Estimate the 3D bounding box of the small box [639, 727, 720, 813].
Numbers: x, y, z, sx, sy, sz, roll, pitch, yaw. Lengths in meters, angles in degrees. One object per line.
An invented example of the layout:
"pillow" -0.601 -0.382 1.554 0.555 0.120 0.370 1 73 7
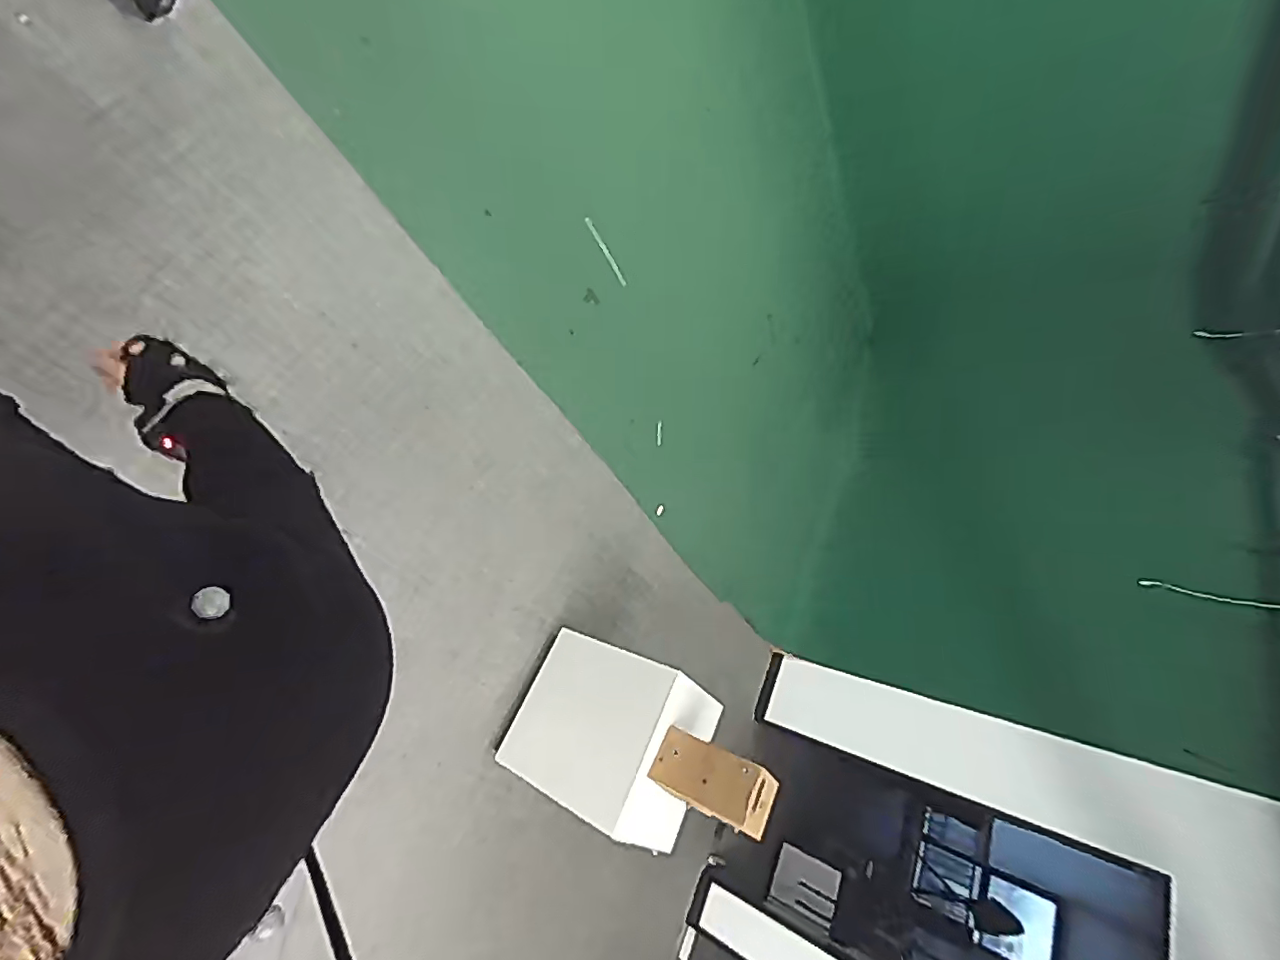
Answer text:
"small box" 0.126 0.913 1.713 0.168 0.176 0.179 -58 136 -29
